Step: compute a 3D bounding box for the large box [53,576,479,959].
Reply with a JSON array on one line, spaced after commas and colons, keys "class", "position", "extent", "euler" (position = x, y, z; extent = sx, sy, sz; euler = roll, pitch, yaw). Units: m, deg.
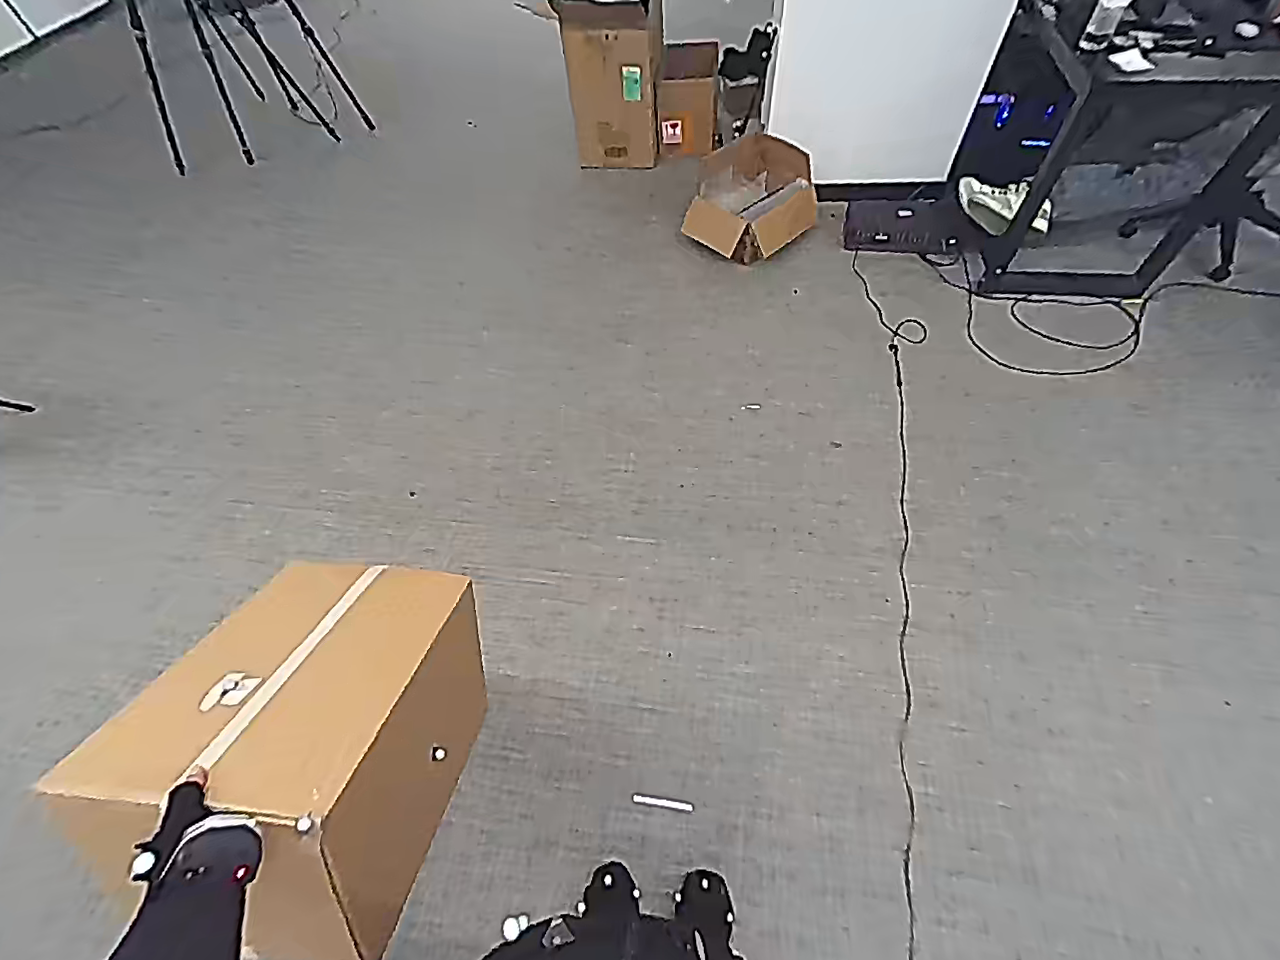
[{"class": "large box", "position": [-0.459, 0.394, 0.798], "extent": [0.320, 0.320, 0.408], "euler": [4, 26, 4]}]
